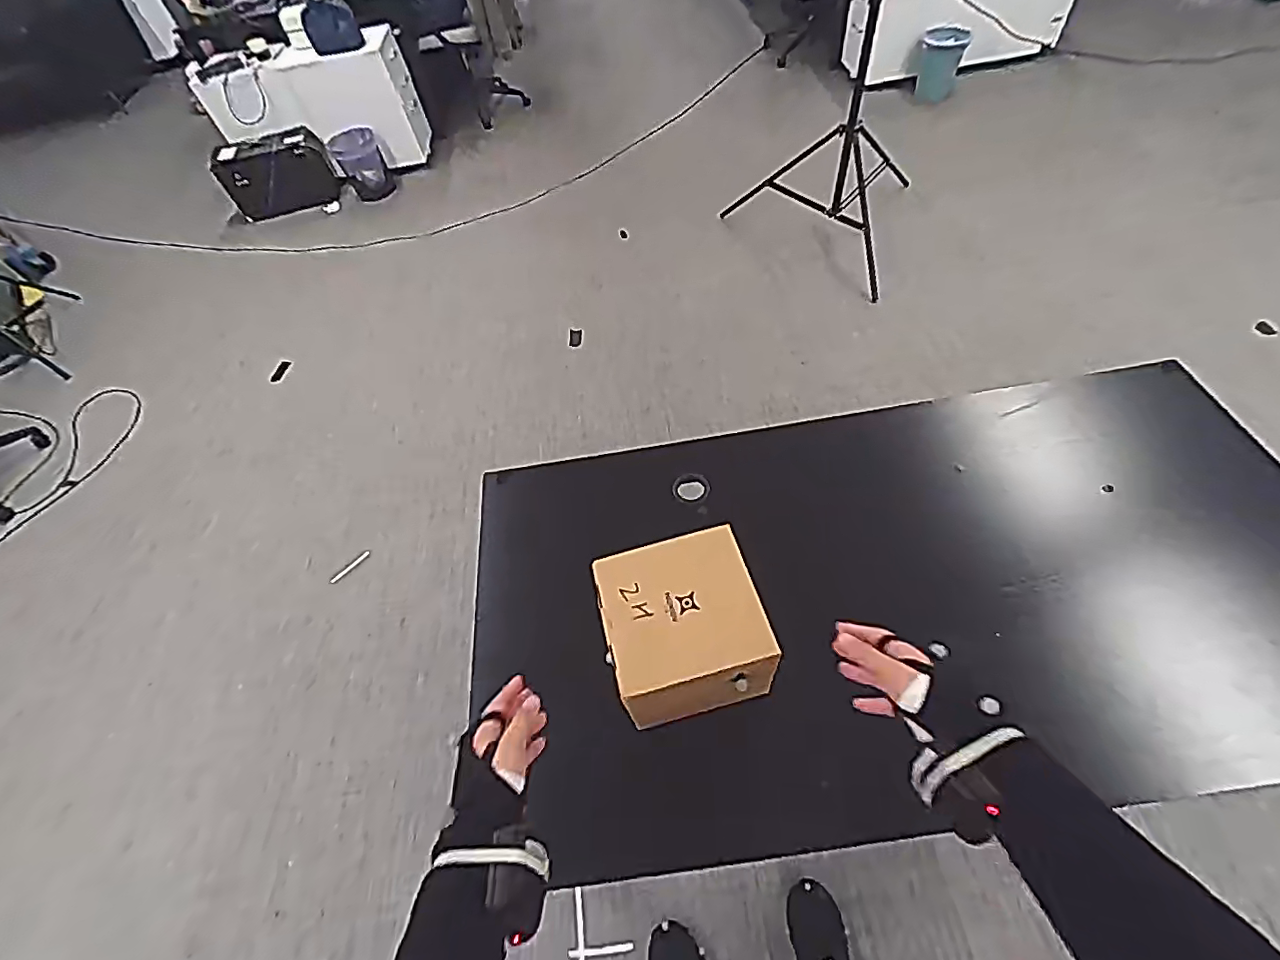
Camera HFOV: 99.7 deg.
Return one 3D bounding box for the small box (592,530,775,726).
[{"bbox_3d":[0.050,0.189,0.677,0.179,0.176,0.168,-15,55,-3],"label":"small box"}]
